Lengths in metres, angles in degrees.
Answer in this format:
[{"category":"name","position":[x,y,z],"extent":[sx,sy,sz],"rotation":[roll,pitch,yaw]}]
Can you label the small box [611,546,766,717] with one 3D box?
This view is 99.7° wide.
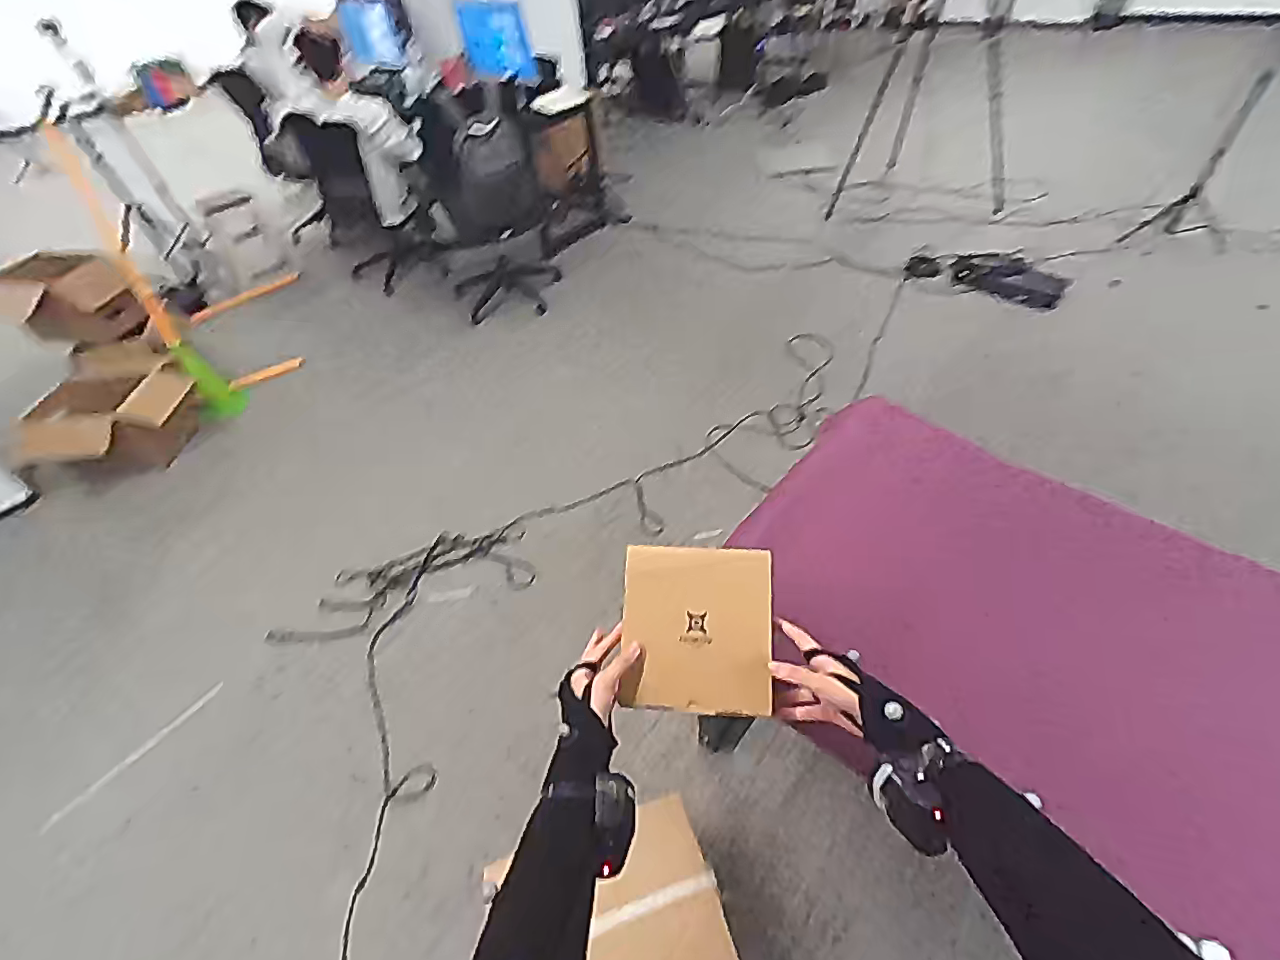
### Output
[{"category":"small box","position":[0.057,0.180,0.664],"extent":[0.168,0.176,0.179],"rotation":[1,76,4]}]
